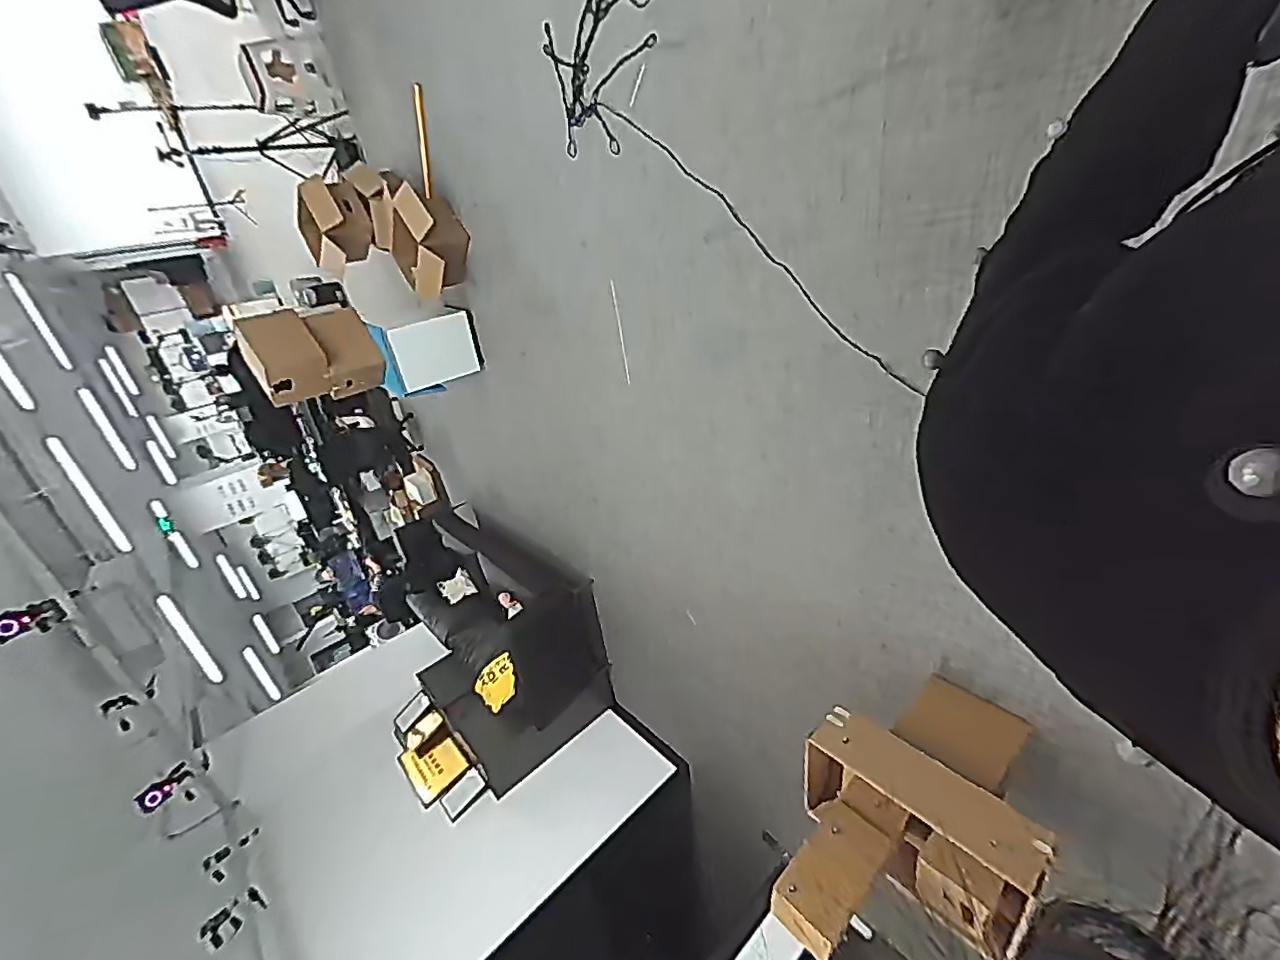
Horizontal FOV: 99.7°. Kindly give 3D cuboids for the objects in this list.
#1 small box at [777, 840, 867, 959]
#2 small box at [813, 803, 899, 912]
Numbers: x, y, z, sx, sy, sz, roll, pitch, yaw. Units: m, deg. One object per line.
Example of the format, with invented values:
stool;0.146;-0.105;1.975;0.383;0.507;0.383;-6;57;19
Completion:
small box;0.501;1.152;1.492;0.179;0.176;0.168;28;135;41
small box;0.623;1.087;1.577;0.179;0.176;0.168;25;133;41
